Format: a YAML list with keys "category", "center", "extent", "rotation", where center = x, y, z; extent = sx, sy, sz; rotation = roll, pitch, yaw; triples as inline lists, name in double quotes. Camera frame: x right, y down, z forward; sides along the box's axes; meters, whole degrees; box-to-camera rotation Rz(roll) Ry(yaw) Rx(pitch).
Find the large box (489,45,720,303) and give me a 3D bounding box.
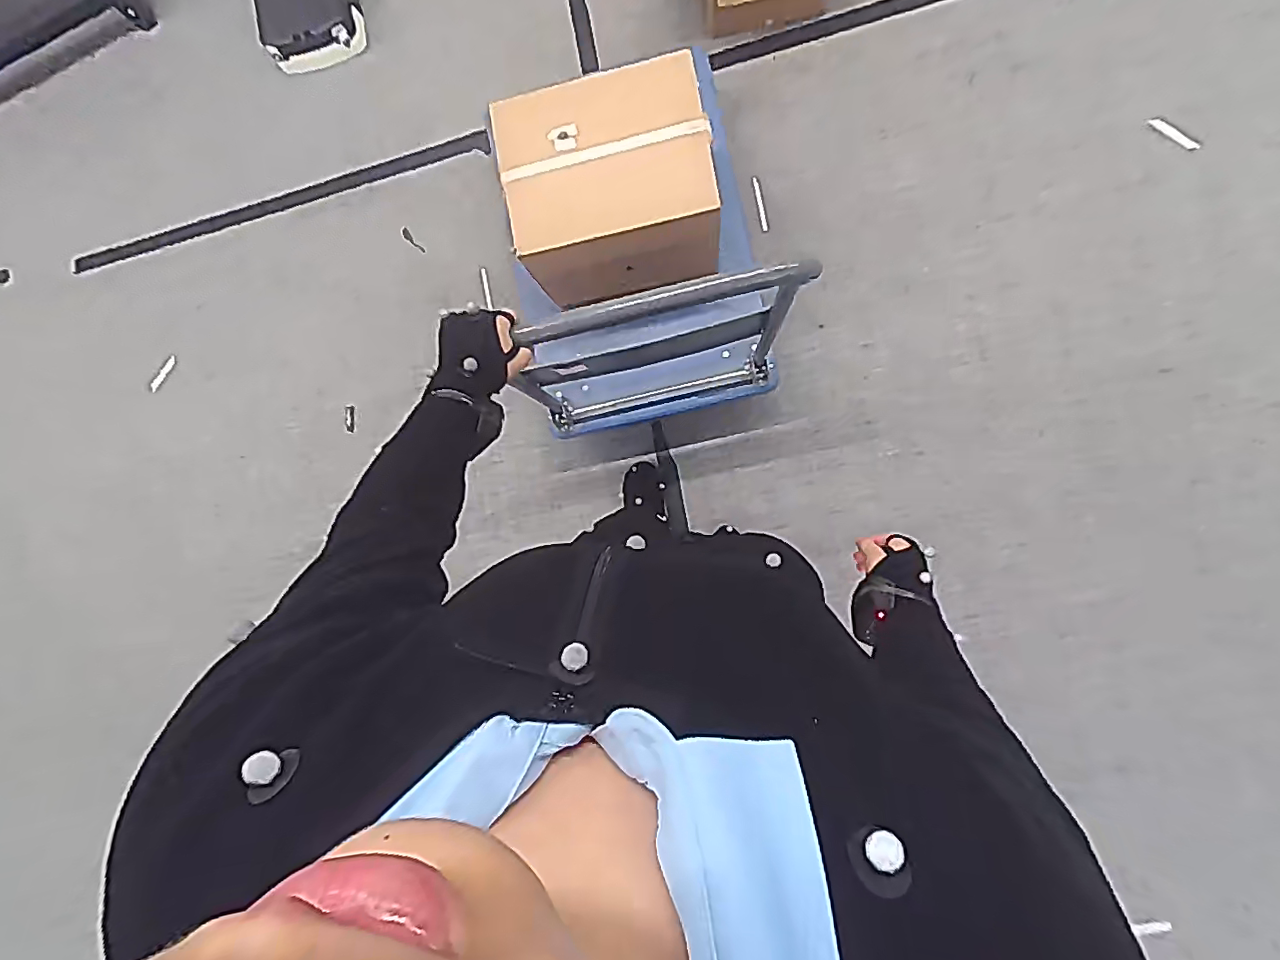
- category: "large box"
  center: [-0.054, -0.620, 1.169]
  extent: [0.408, 0.320, 0.320]
  rotation: [-11, 87, 8]
